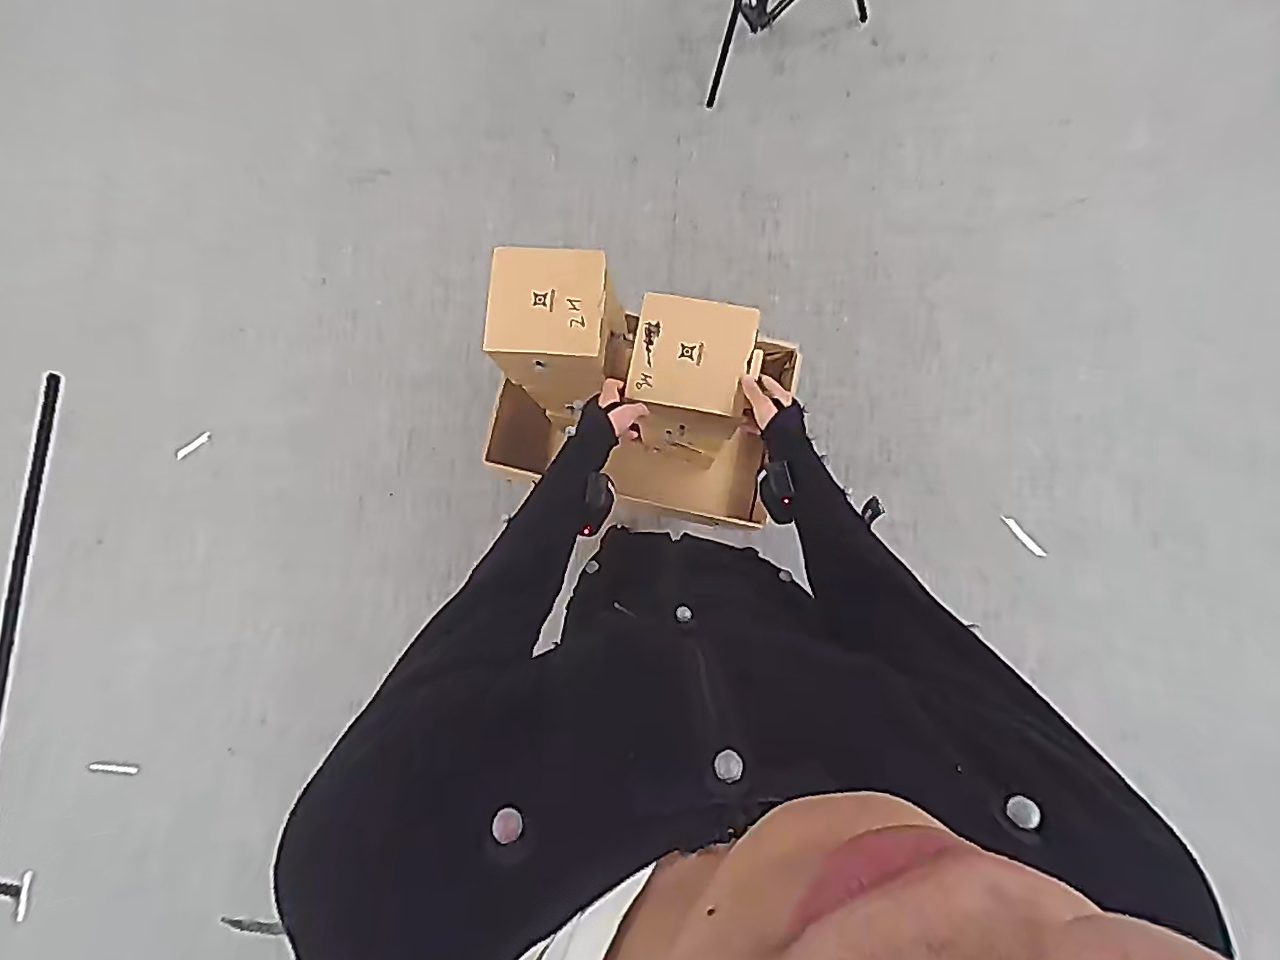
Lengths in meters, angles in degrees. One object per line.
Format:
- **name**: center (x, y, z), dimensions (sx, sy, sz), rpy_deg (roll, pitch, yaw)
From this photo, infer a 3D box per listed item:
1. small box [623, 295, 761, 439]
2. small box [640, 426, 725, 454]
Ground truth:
- **small box**: center (0.078, -0.168, 0.859), dimensions (0.179, 0.176, 0.168), rpy_deg (11, 84, 4)
- **small box**: center (0.097, -0.160, 1.022), dimensions (0.168, 0.176, 0.179), rpy_deg (16, 84, 5)
